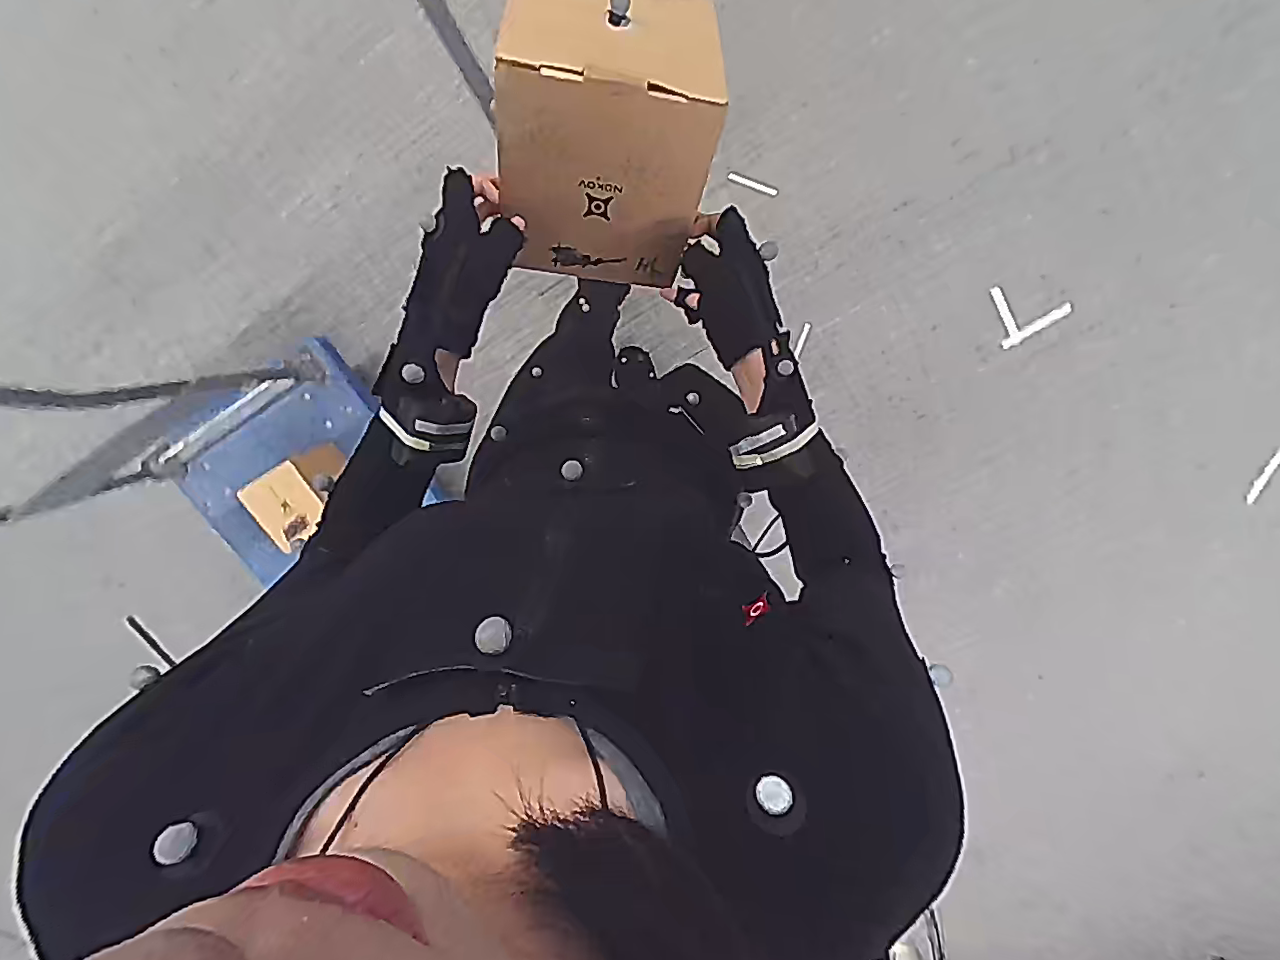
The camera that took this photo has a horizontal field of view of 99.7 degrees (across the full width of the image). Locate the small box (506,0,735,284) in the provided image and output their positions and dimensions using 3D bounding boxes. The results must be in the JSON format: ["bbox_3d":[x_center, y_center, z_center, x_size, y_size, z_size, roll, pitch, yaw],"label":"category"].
[{"bbox_3d":[-0.029,-0.312,0.483,0.168,0.176,0.179,6,152,-10],"label":"small box"}]

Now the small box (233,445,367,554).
[{"bbox_3d":[-0.799,0.041,1.296,0.168,0.176,0.179,-27,105,11],"label":"small box"}]
